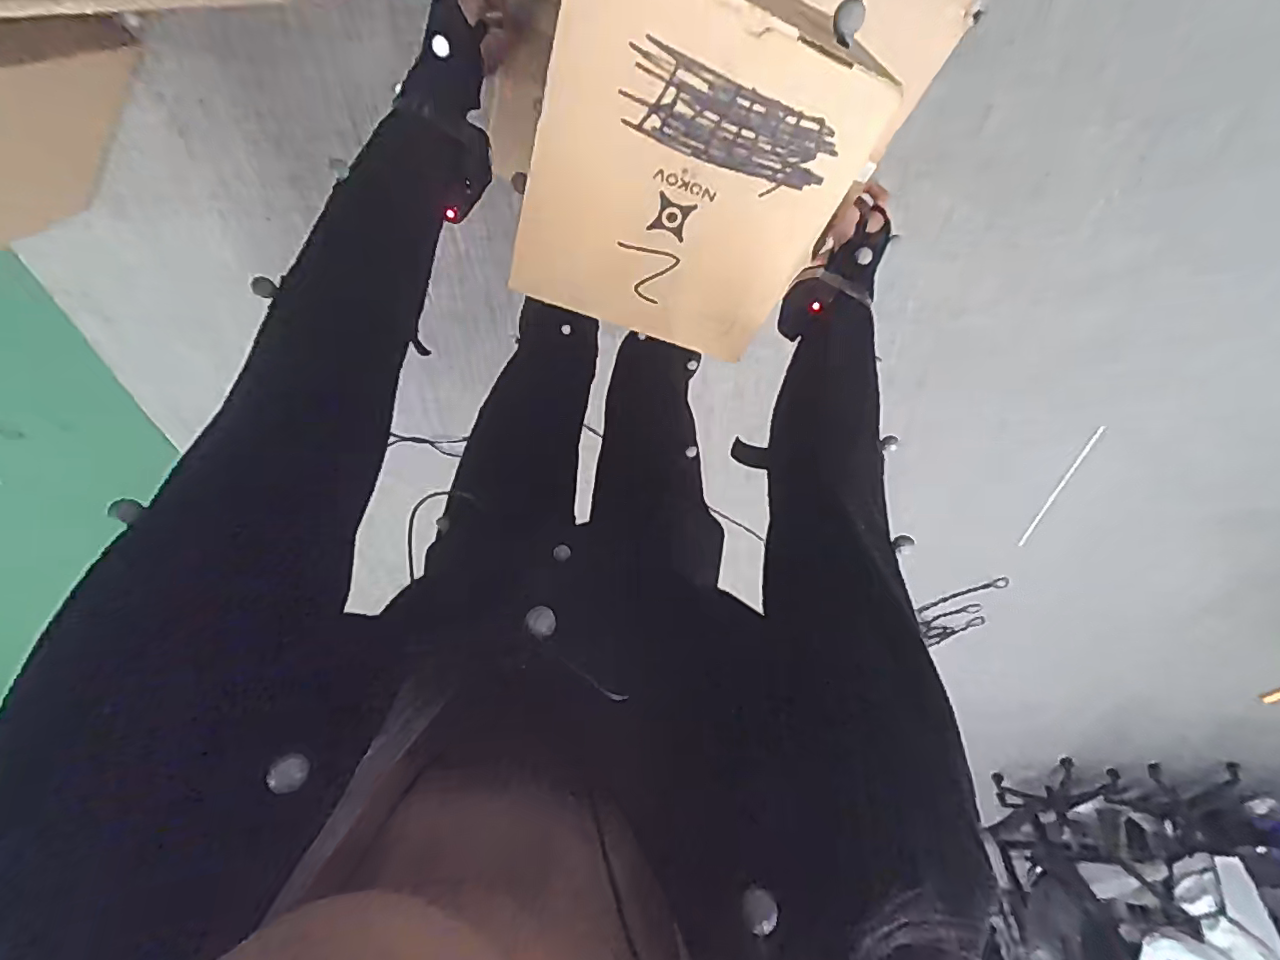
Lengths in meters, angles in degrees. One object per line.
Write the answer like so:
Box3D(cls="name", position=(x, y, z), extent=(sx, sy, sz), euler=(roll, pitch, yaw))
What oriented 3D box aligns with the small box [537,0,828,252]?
Box3D(cls="small box", position=(0.024, -0.342, 0.462), extent=(0.168, 0.176, 0.179), euler=(18, 136, -18))
